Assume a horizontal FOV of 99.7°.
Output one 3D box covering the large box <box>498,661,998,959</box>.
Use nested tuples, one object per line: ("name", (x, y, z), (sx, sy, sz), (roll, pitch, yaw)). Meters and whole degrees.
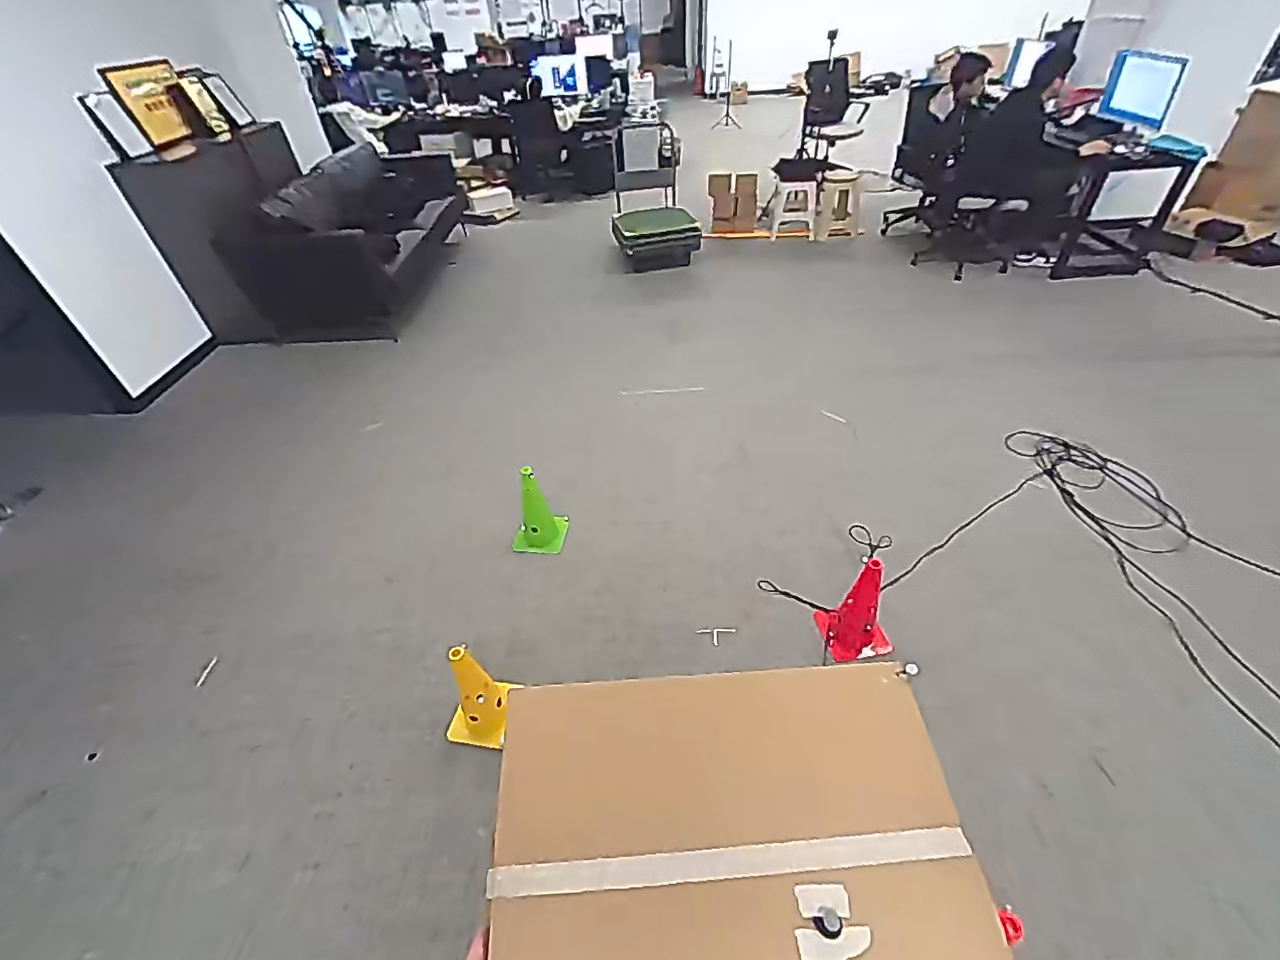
("large box", (0.078, 0.417, 0.587), (0.408, 0.320, 0.320), (-3, 53, -3))

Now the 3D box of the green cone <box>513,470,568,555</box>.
("green cone", (-0.420, 0.104, 2.123), (0.200, 0.368, 0.202), (2, 43, 7))
